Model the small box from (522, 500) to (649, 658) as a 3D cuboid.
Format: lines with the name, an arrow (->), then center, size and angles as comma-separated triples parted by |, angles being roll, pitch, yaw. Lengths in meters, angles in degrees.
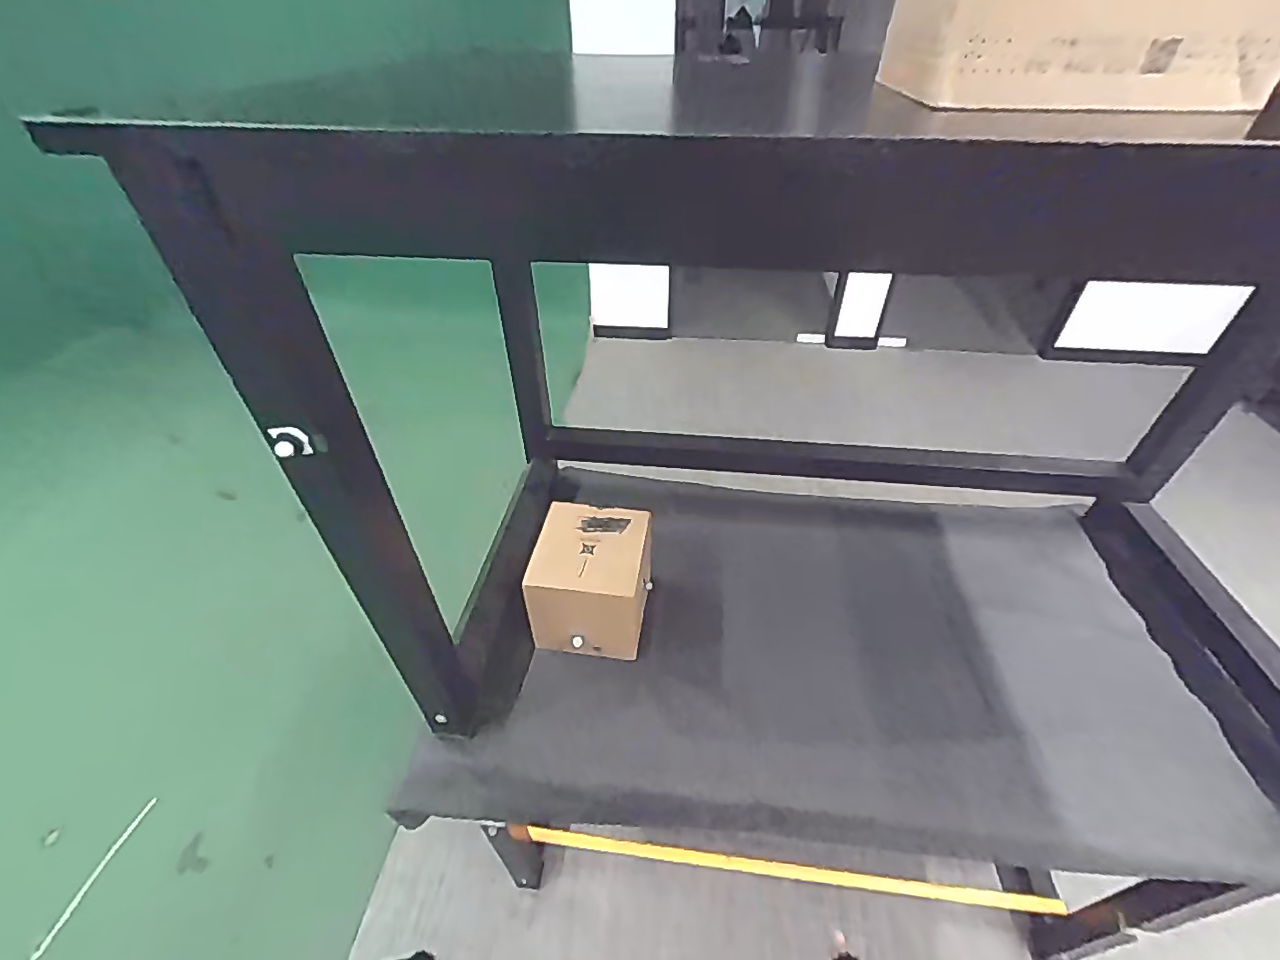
small box -> -0.079, 0.159, 0.878 | 0.168, 0.176, 0.179 | 5, 42, 6
